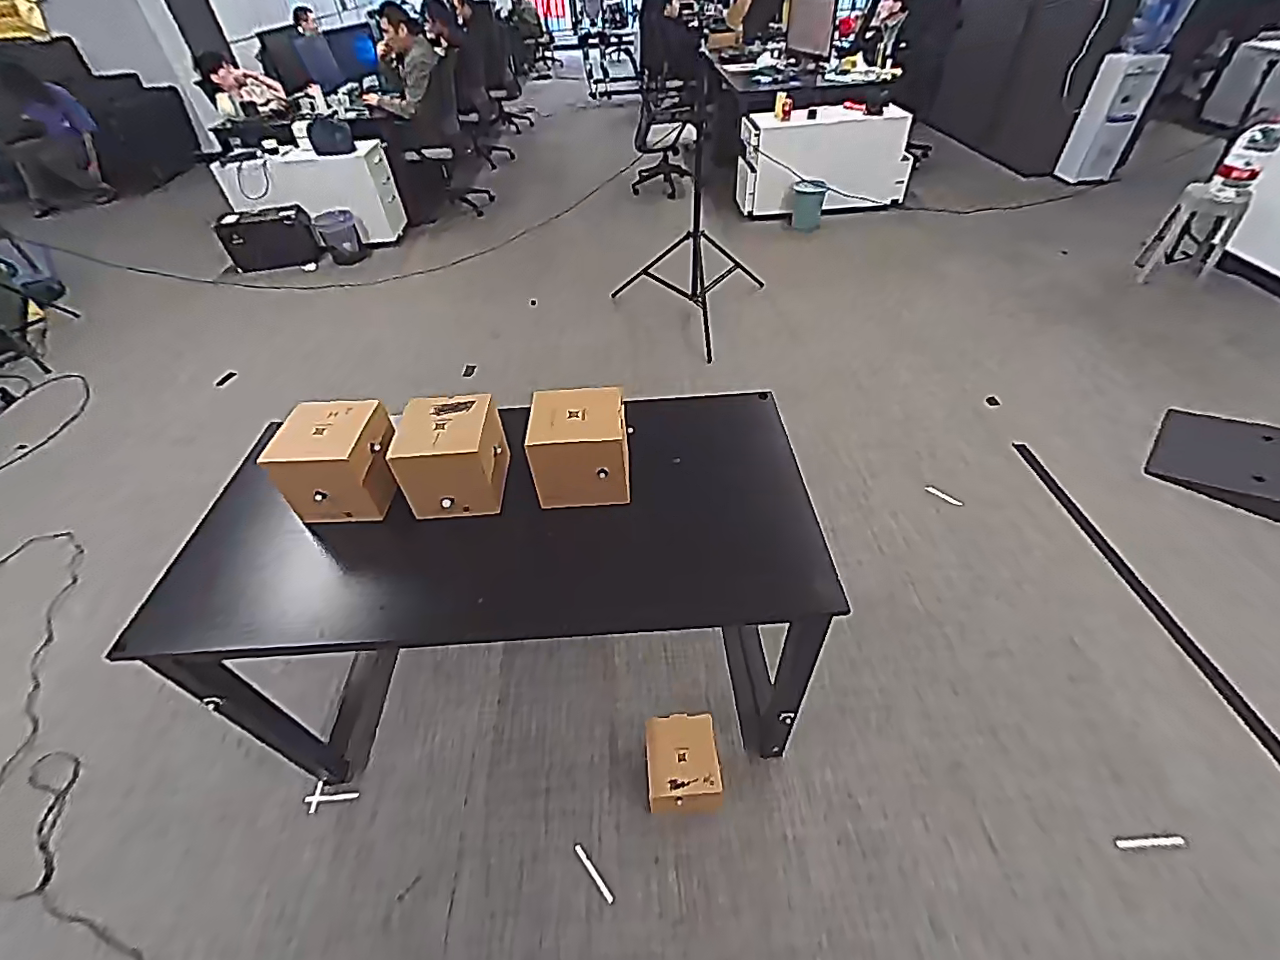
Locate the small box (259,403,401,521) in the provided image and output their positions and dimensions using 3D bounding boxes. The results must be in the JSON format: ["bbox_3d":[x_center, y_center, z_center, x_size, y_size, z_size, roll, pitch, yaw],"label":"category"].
[{"bbox_3d":[-0.589,-0.032,1.067,0.168,0.176,0.179,-2,44,2],"label":"small box"}]

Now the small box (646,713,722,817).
[{"bbox_3d":[0.102,0.695,1.317,0.168,0.176,0.179,-5,44,0],"label":"small box"}]

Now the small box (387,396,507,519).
[{"bbox_3d":[-0.365,-0.044,1.063,0.168,0.176,0.179,-4,45,0],"label":"small box"}]

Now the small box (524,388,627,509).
[{"bbox_3d":[-0.117,-0.060,1.063,0.179,0.176,0.168,-5,43,1],"label":"small box"}]
